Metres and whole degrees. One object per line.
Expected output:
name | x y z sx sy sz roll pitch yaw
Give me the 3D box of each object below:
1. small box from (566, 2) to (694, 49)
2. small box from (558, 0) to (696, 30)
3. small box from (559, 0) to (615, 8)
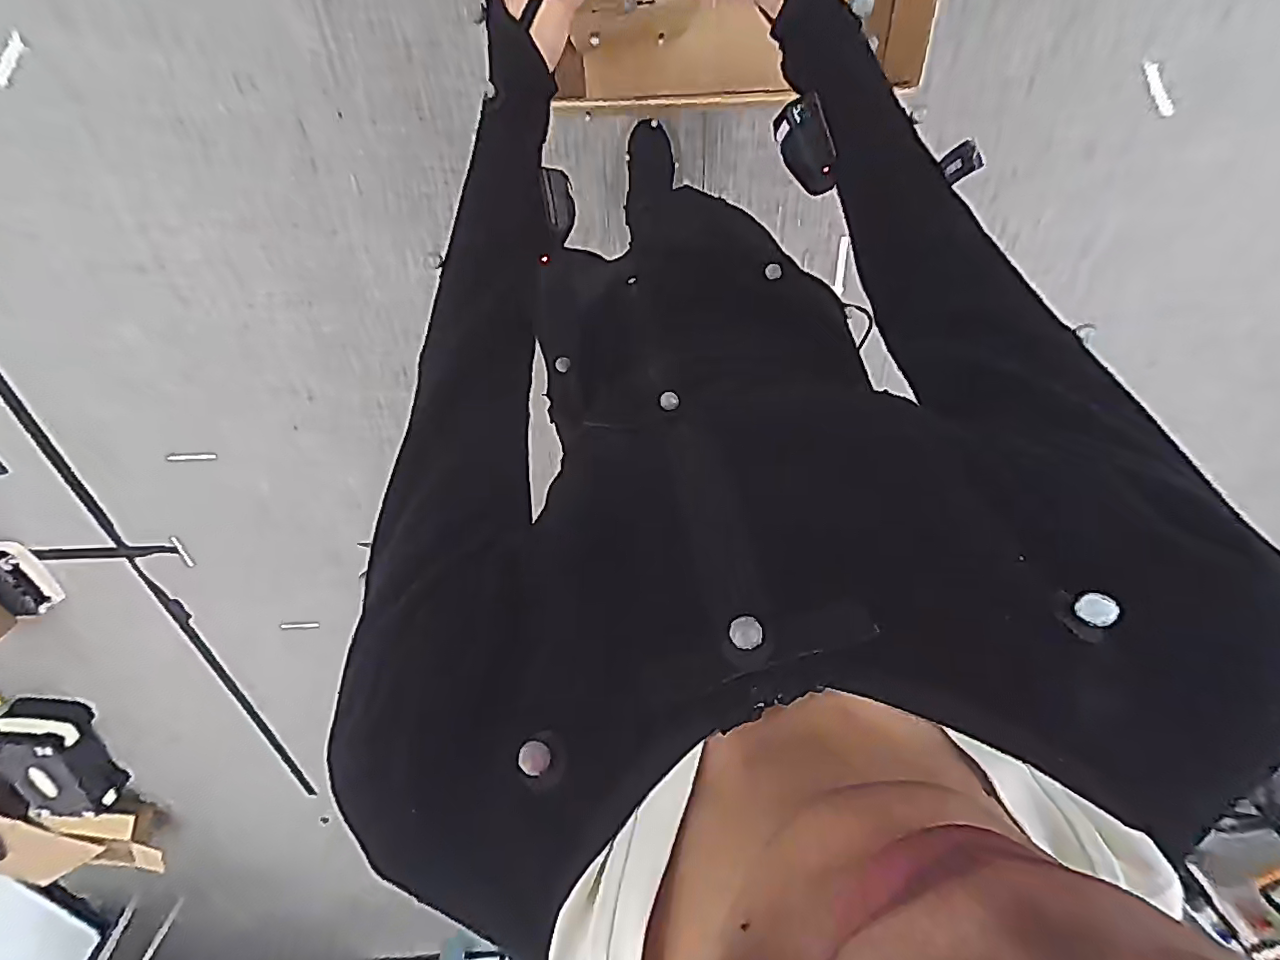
small box | -0.025 -0.728 0.761 0.179 0.176 0.168 -7 123 2
small box | -0.019 -0.643 0.622 0.168 0.176 0.179 -6 122 0
small box | -0.023 -0.559 0.479 0.168 0.176 0.179 -8 122 1
